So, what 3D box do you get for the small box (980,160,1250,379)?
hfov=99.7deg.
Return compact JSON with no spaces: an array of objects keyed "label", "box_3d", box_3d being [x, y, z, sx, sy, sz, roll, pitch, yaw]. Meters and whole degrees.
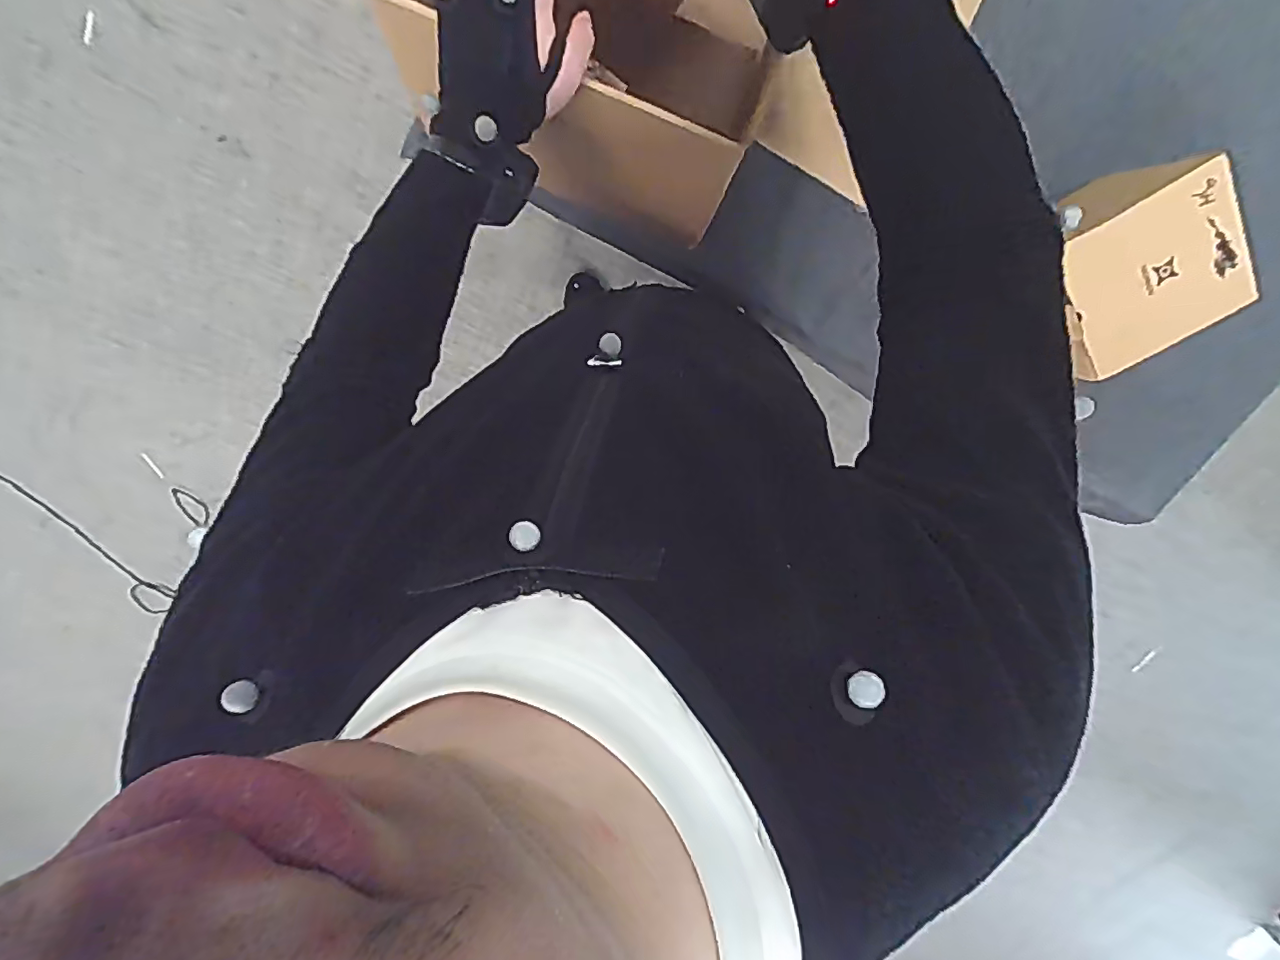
[{"label":"small box","box_3d":[0.554,-0.247,0.660,0.179,0.176,0.168,-29,107,12]}]
